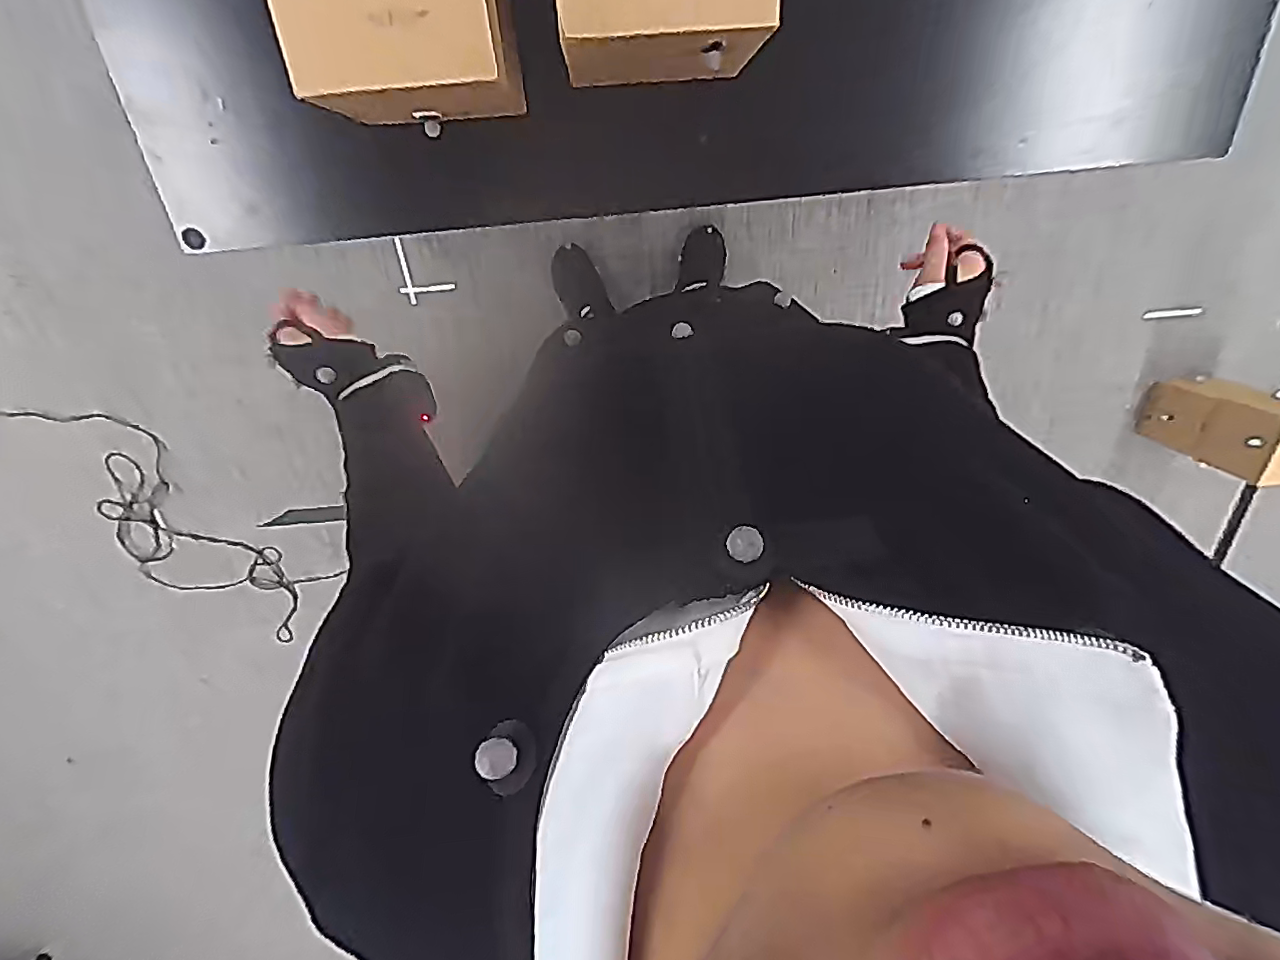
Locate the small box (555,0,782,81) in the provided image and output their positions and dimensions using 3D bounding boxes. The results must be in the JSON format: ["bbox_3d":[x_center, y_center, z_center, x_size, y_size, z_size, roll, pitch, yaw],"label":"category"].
[{"bbox_3d":[0.014,-0.456,0.454,0.179,0.176,0.168,-4,115,-1],"label":"small box"}]

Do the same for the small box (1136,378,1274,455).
[{"bbox_3d":[1.543,-0.179,1.493,0.179,0.176,0.168,-3,116,-1],"label":"small box"}]

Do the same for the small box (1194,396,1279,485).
[{"bbox_3d":[1.559,-0.104,1.346,0.168,0.176,0.179,-4,117,-2],"label":"small box"}]

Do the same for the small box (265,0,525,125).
[{"bbox_3d":[-0.202,-0.423,0.460,0.168,0.176,0.179,-5,117,0],"label":"small box"}]
